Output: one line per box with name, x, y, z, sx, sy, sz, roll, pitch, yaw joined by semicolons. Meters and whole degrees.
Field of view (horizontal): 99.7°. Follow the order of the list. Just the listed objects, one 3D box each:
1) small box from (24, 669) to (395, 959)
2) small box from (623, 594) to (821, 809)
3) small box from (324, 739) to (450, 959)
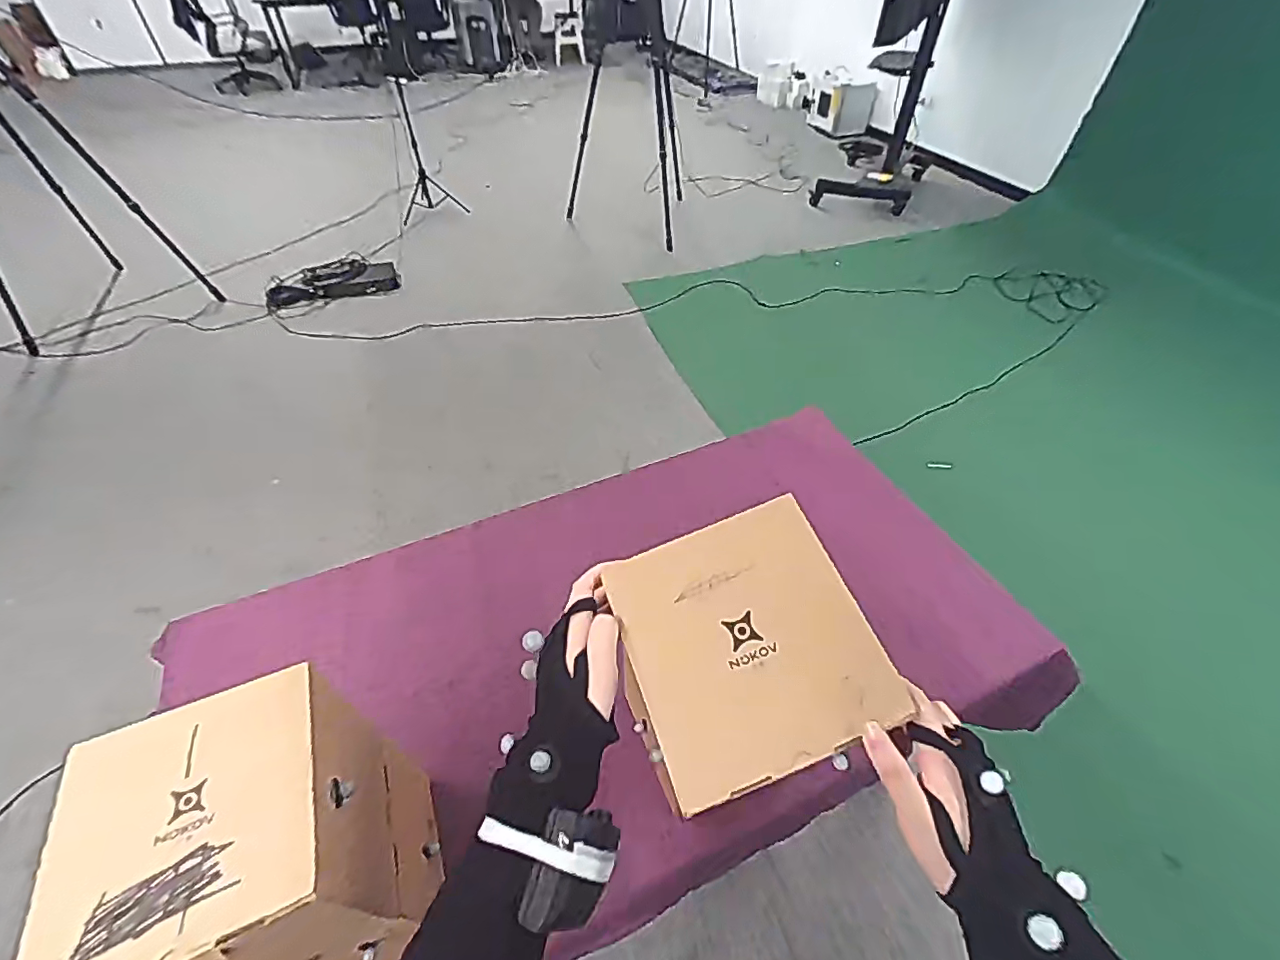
small box;-0.313;0.292;0.433;0.168;0.176;0.179;-18;48;-17
small box;0.089;0.277;0.672;0.179;0.176;0.168;-17;50;-15
small box;-0.315;0.406;0.552;0.179;0.176;0.168;-18;50;-17
